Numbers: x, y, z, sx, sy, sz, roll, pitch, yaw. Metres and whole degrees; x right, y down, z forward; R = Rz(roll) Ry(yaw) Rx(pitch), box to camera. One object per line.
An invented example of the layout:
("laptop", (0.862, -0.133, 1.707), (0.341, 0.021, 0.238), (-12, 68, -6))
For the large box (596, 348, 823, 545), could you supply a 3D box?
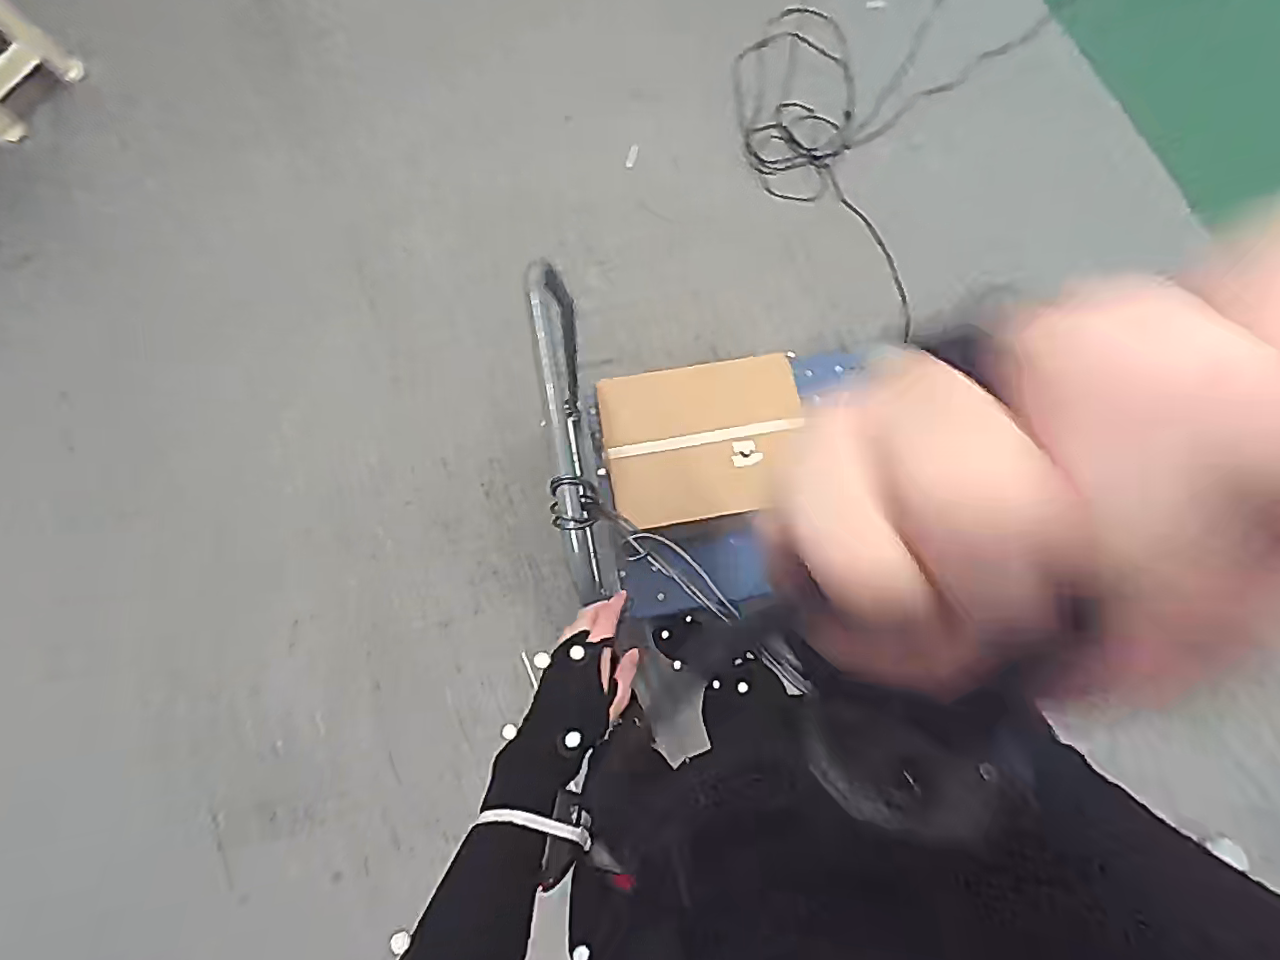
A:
("large box", (0.129, -0.057, 1.212), (0.408, 0.320, 0.320), (-10, 78, -5))
